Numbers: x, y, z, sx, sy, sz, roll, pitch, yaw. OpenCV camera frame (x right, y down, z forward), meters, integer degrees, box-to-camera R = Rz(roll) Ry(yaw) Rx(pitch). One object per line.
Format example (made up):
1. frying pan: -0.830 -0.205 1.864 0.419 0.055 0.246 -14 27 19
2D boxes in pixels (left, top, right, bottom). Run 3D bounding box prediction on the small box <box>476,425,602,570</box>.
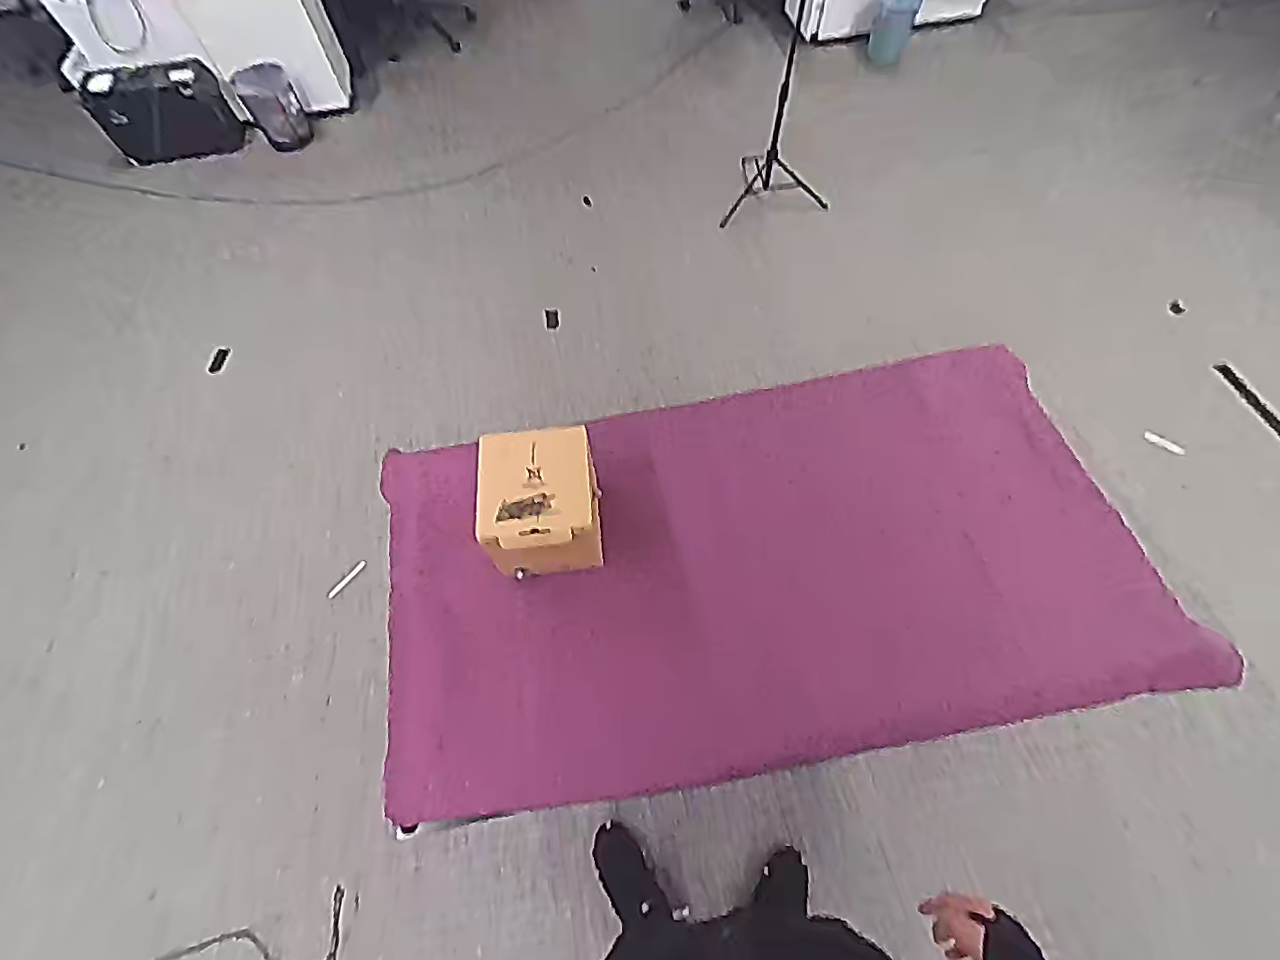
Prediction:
1. small box: -0.153 0.036 0.859 0.168 0.176 0.179 -6 62 -2
